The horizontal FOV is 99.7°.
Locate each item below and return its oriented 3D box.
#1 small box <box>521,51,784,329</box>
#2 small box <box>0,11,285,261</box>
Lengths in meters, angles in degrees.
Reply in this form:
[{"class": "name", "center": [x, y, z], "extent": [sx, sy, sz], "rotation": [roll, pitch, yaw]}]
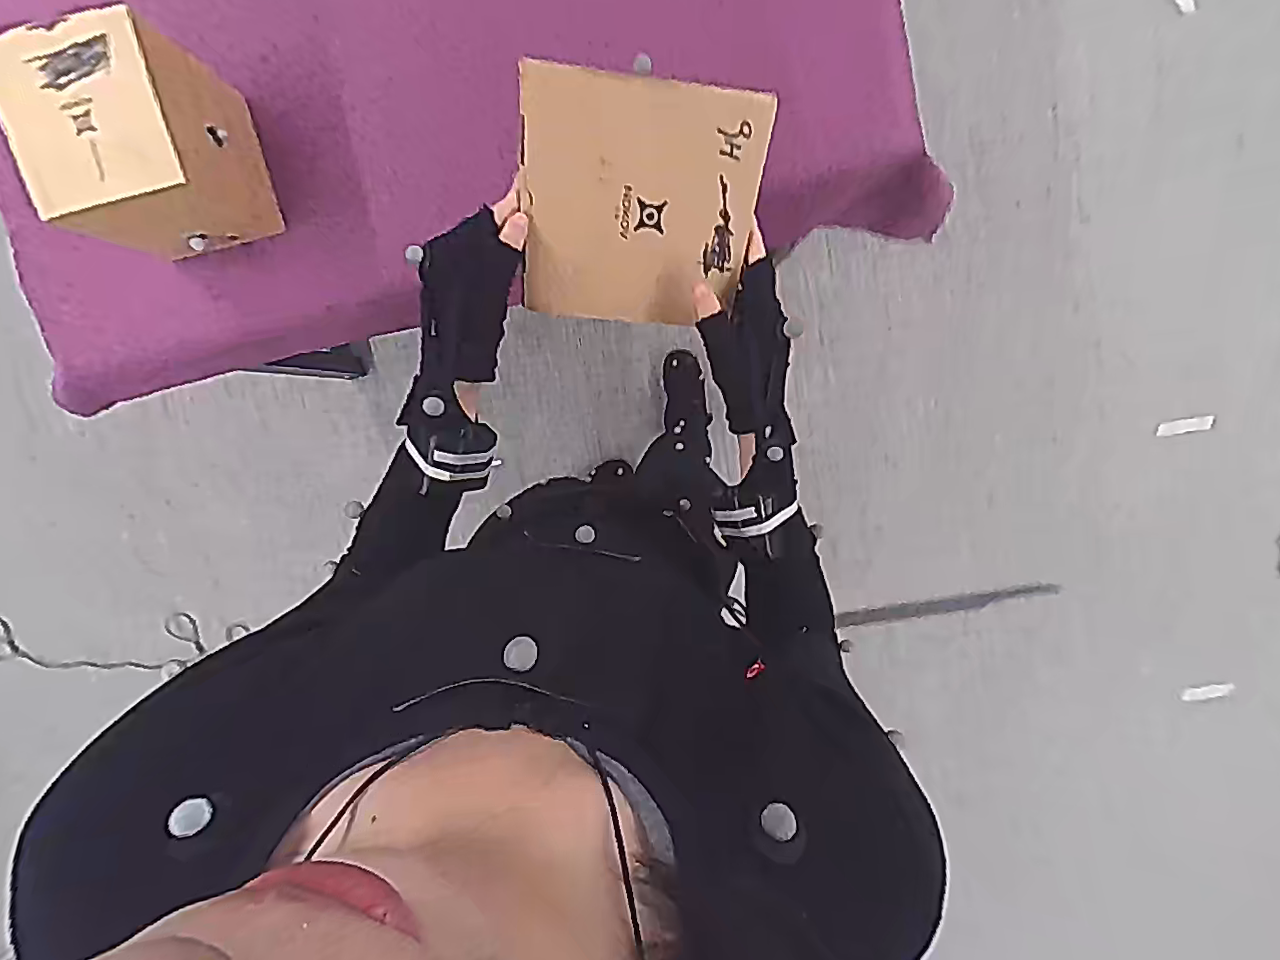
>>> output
[{"class": "small box", "center": [-0.002, -0.246, 0.466], "extent": [0.179, 0.176, 0.168], "rotation": [5, 125, -6]}, {"class": "small box", "center": [-0.569, -0.384, 0.638], "extent": [0.168, 0.176, 0.179], "rotation": [-14, 98, 2]}]
